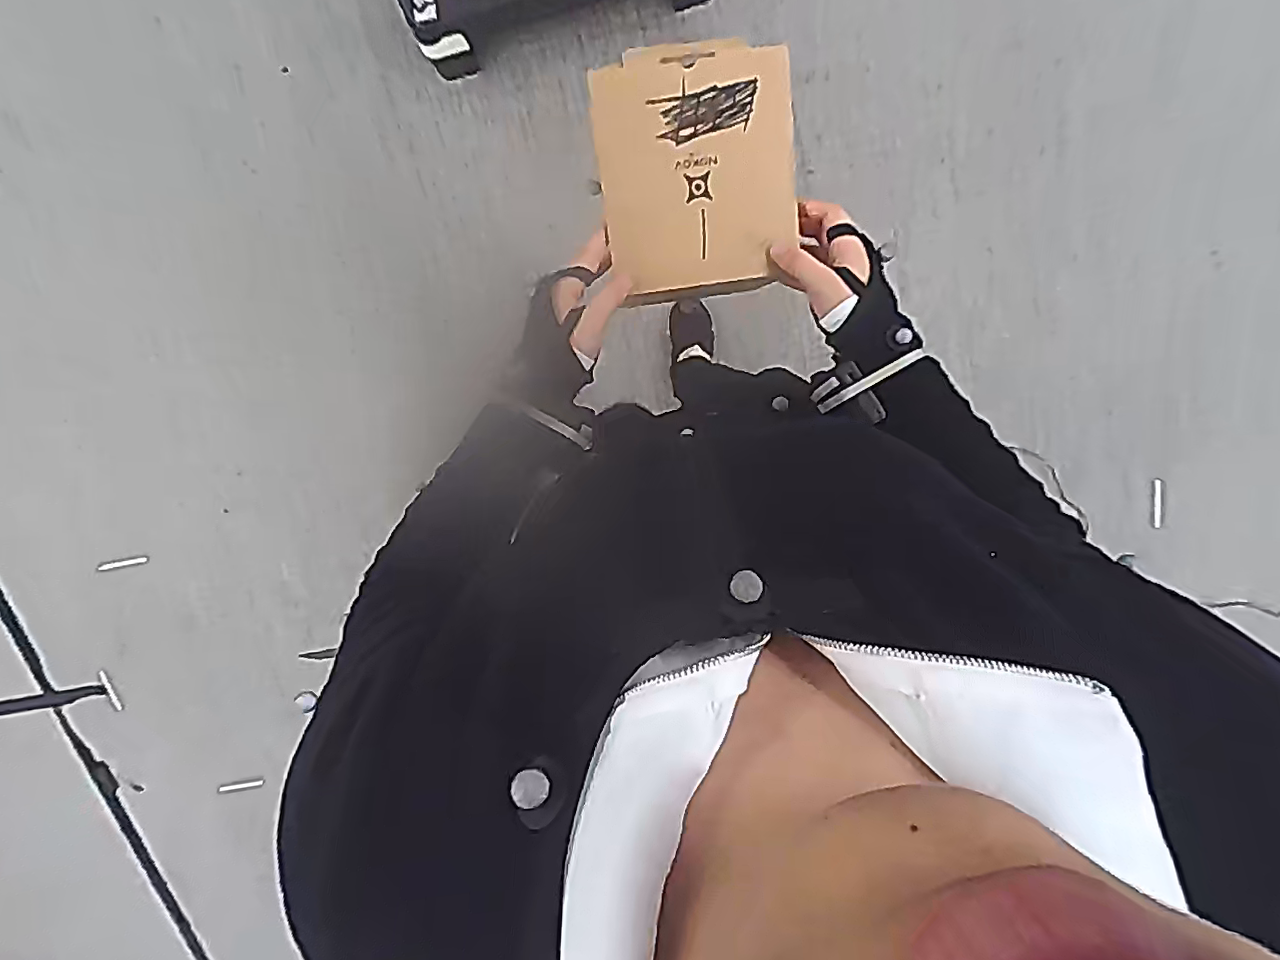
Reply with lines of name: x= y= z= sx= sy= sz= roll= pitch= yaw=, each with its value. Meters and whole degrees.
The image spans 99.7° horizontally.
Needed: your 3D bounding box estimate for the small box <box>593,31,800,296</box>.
small box: x=0.047 y=-0.287 z=0.531 sx=0.168 sy=0.176 sz=0.179 roll=-8 pitch=105 yaw=0
